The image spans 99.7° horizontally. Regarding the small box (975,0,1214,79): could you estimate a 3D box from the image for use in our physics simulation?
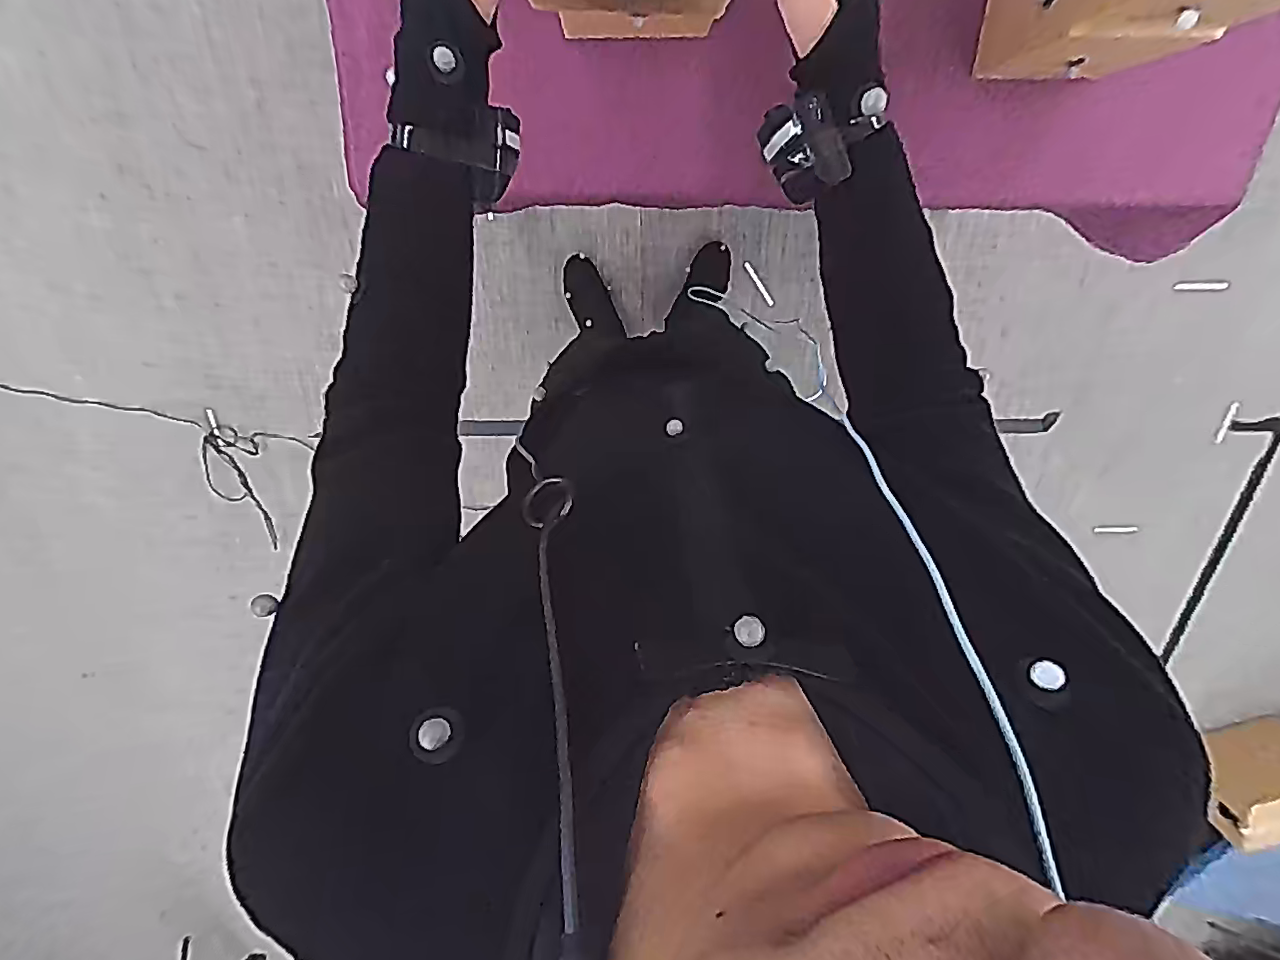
[{"bbox_3d":[0.510,-0.565,0.596,0.168,0.176,0.179,-1,115,-3],"label":"small box"}]

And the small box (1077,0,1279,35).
[{"bbox_3d":[0.518,-0.505,0.443,0.168,0.176,0.179,0,115,-2],"label":"small box"}]

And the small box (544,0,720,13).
[{"bbox_3d":[-0.003,-0.464,0.385,0.179,0.176,0.168,2,117,-2],"label":"small box"}]
